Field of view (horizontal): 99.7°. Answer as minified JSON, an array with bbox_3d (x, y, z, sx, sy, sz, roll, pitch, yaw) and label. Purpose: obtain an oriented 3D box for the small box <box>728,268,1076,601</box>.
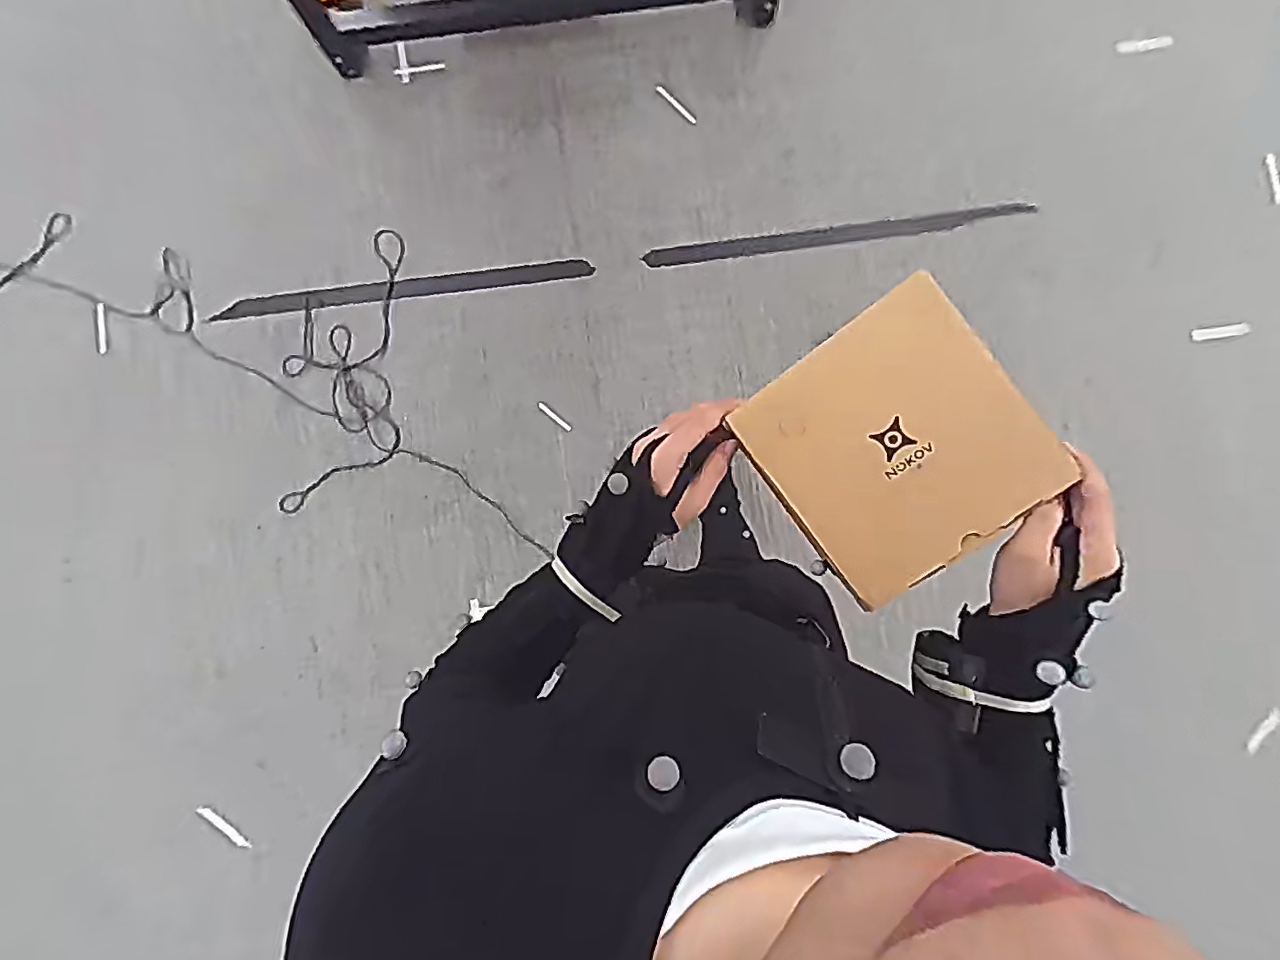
[{"bbox_3d":[0.186,-0.033,0.451,0.168,0.176,0.179,-37,88,9],"label":"small box"}]
